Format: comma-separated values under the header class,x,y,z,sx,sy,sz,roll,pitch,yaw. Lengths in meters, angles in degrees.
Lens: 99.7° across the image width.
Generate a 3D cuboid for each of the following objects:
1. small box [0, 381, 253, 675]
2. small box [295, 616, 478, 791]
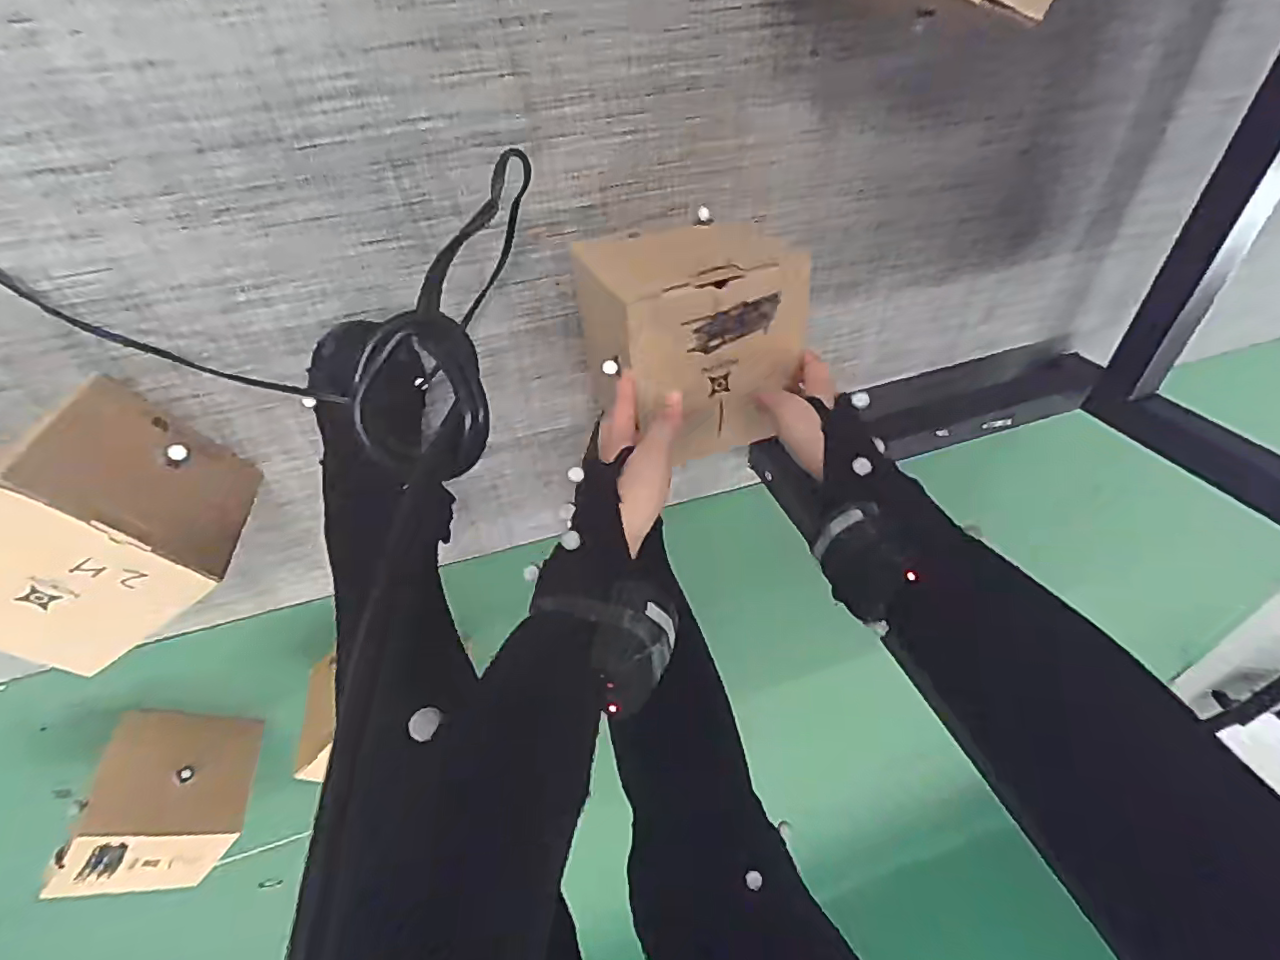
class,x,y,z,sx,sy,sz,roll,pitch,yaw
small box,-0.510,0.043,0.507,0.179,0.176,0.168,-34,132,7
small box,-0.364,0.329,0.802,0.168,0.176,0.179,-41,130,15
